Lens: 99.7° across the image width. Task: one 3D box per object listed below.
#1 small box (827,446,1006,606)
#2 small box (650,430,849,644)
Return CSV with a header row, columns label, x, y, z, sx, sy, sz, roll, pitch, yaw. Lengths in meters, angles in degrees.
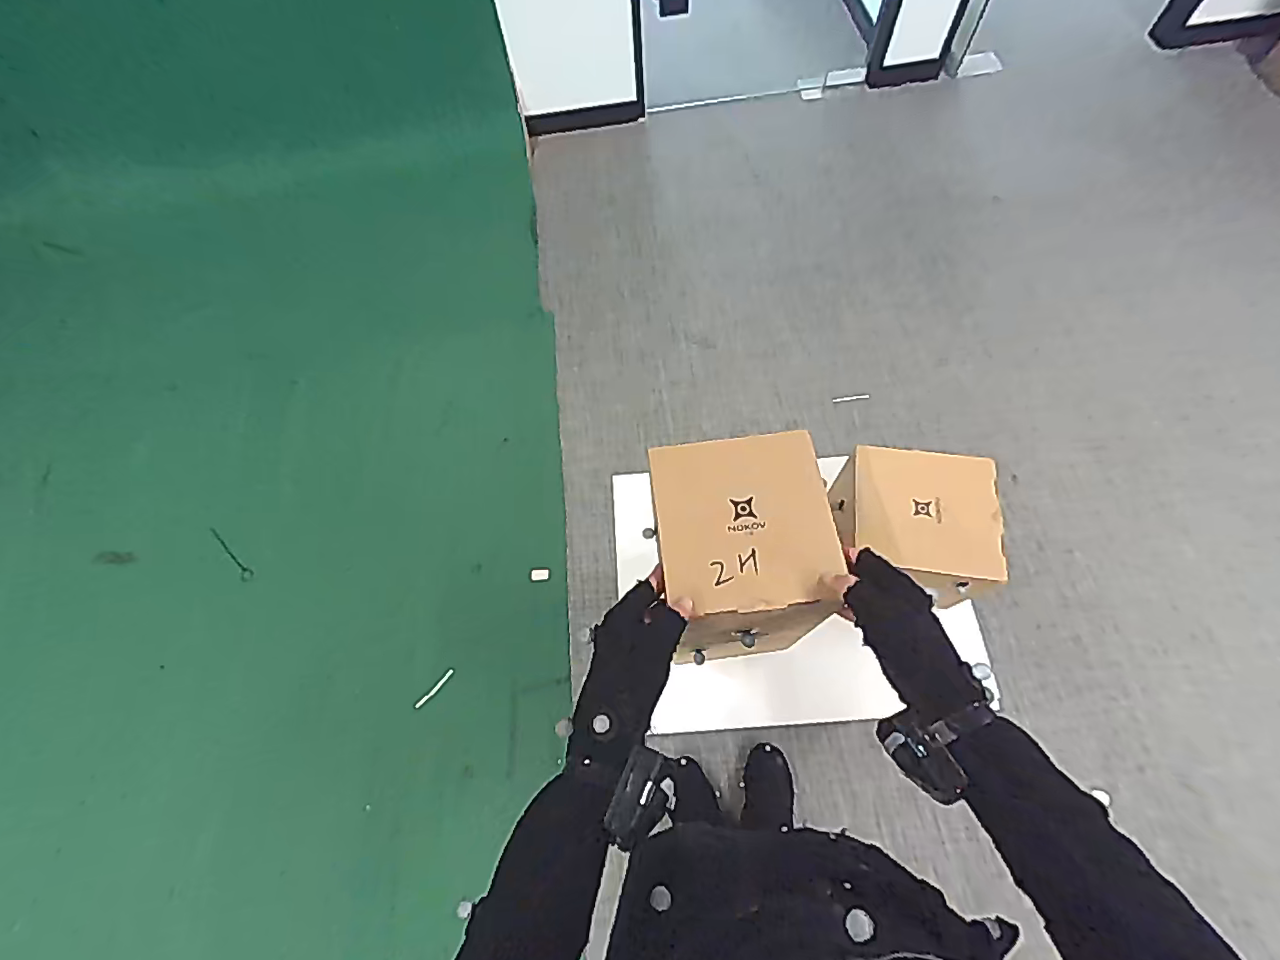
label,x,y,z,sx,sy,sz,roll,pitch,yaw
small box,0.362,0.069,0.748,0.179,0.176,0.168,6,66,7
small box,0.101,0.069,0.585,0.168,0.176,0.179,-7,65,1
